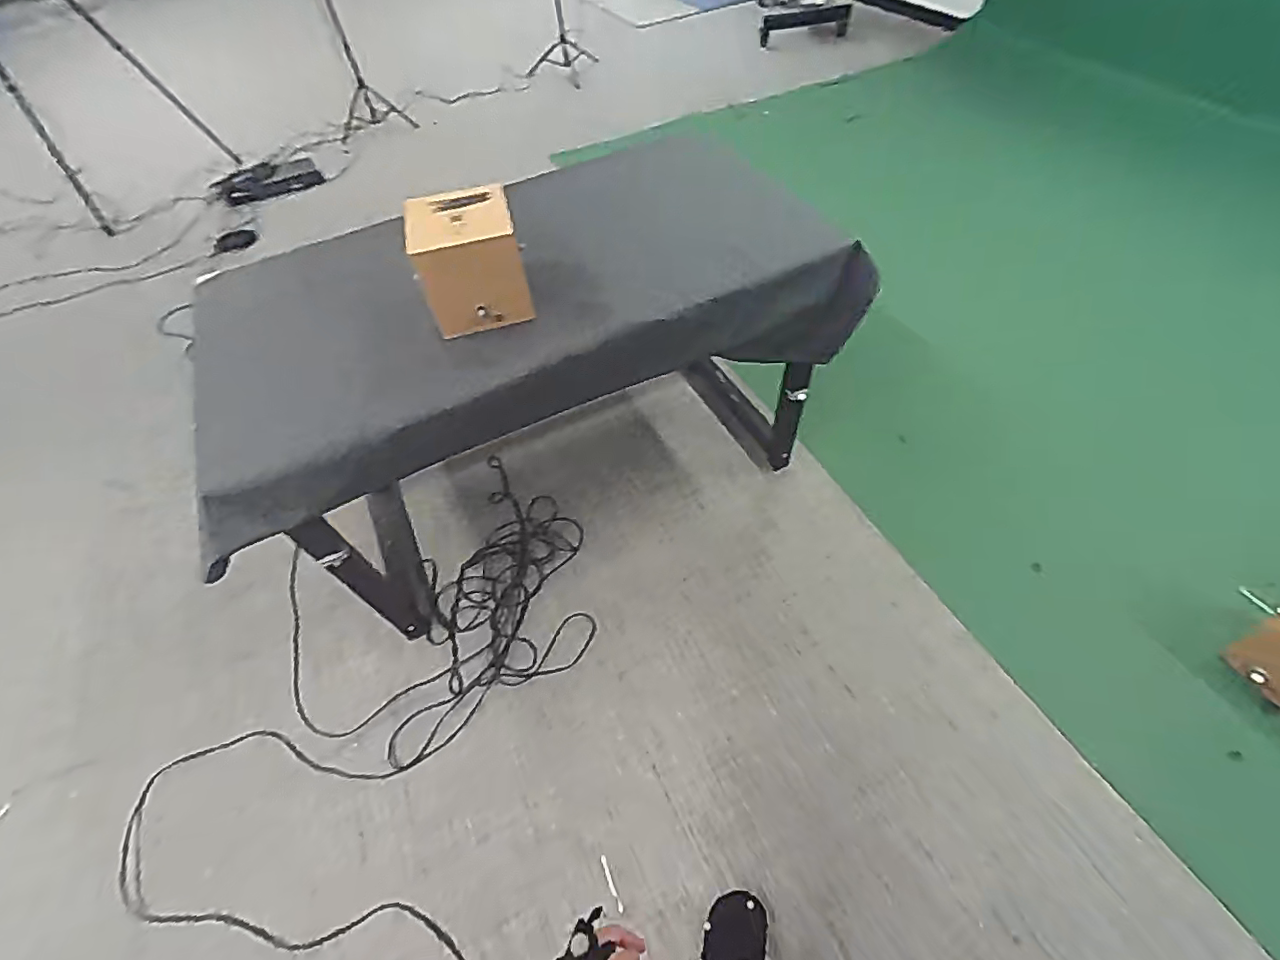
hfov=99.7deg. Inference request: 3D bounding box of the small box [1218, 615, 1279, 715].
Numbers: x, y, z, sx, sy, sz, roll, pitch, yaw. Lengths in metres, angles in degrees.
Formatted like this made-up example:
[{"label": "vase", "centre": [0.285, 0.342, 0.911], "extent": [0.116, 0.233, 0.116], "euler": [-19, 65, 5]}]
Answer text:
[{"label": "small box", "centre": [1.440, 0.387, 1.170], "extent": [0.179, 0.176, 0.168], "euler": [-25, 55, -12]}]
